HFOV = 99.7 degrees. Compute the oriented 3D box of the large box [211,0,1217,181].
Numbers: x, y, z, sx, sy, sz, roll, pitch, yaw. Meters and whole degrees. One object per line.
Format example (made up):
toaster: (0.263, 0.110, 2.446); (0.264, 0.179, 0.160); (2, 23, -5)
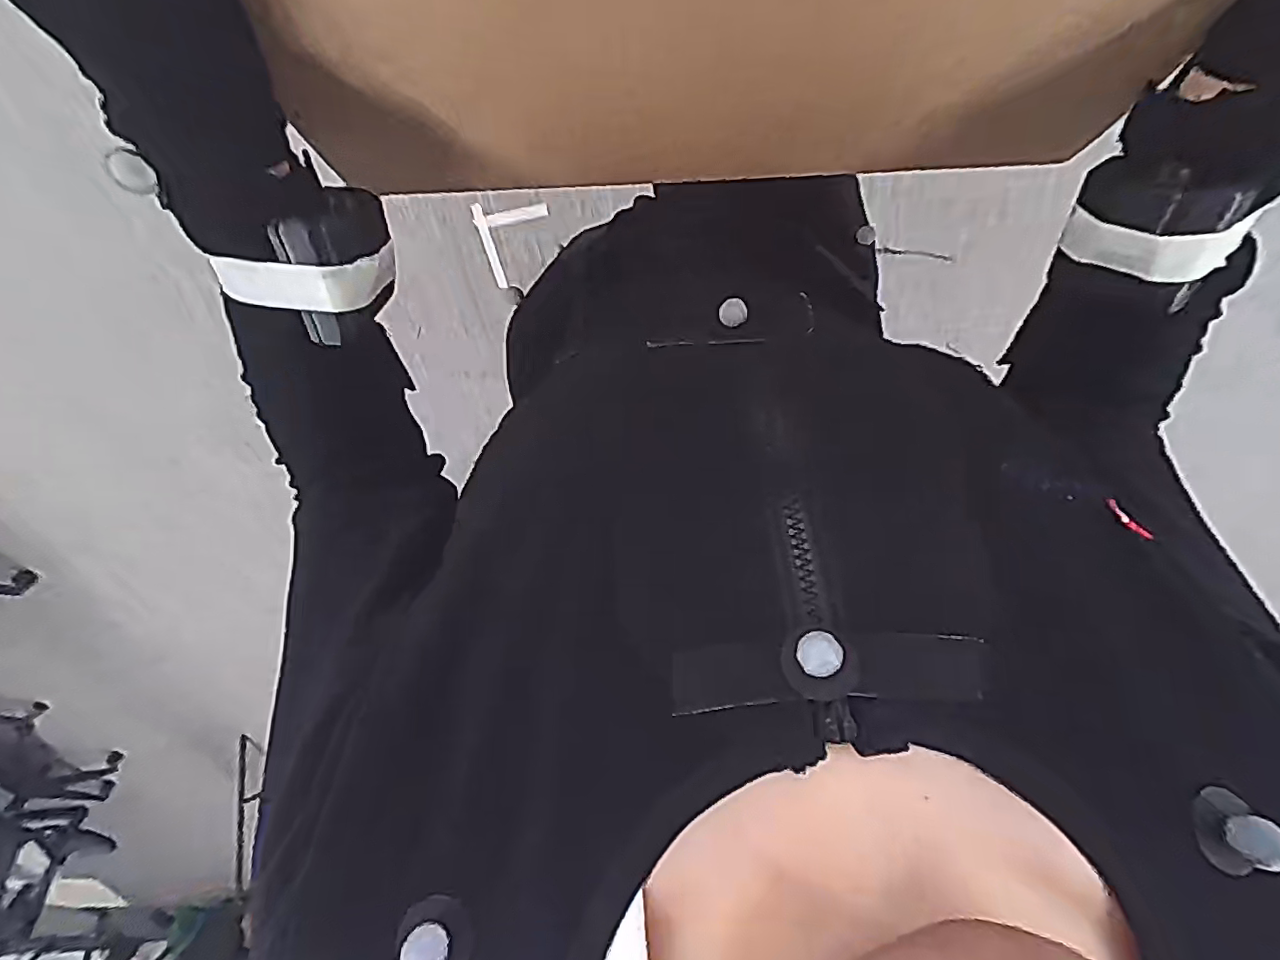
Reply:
large box: (0.027, -0.344, 0.170); (0.408, 0.320, 0.320); (-2, 86, 2)
